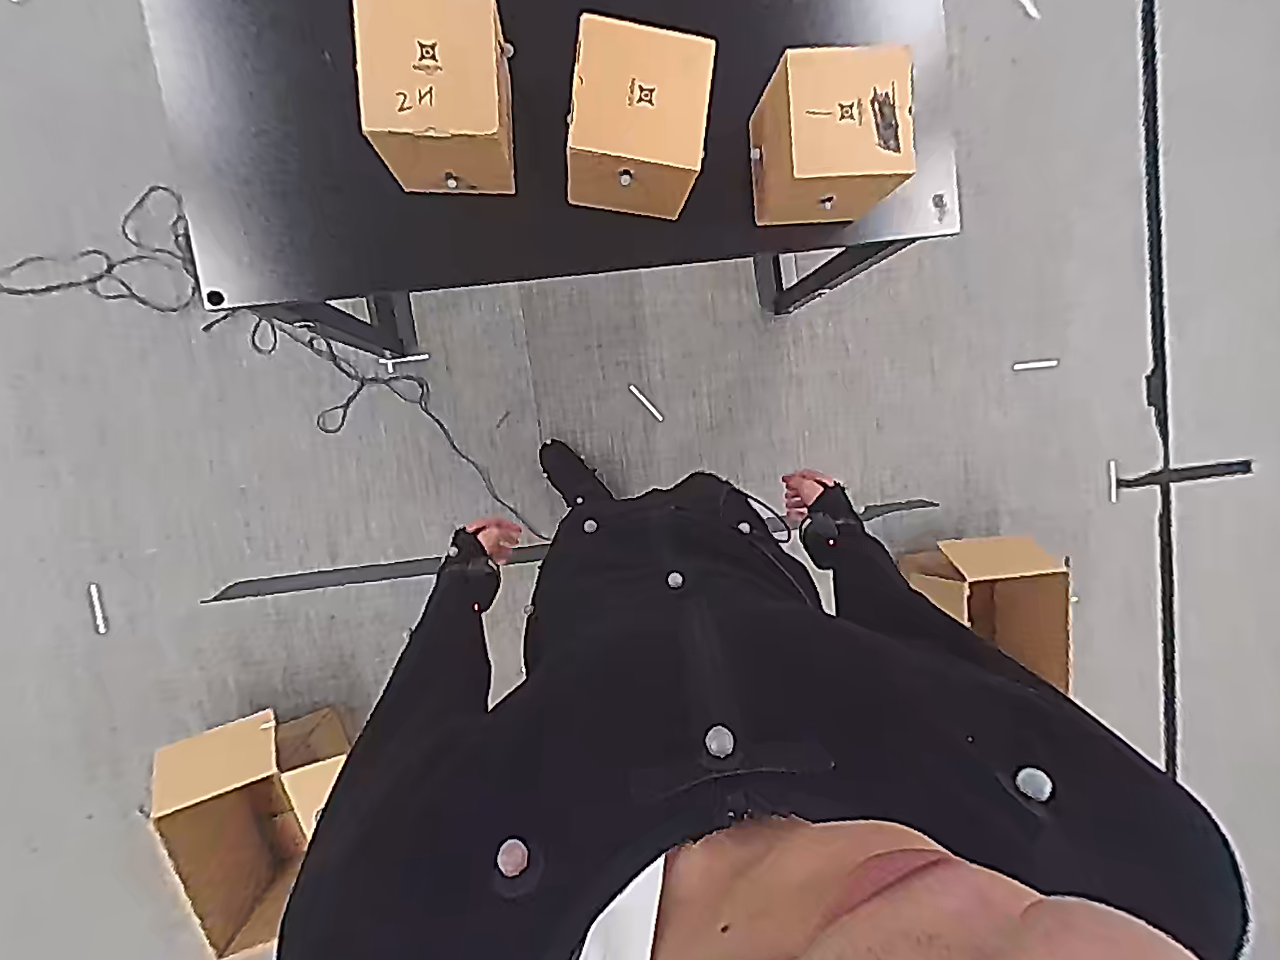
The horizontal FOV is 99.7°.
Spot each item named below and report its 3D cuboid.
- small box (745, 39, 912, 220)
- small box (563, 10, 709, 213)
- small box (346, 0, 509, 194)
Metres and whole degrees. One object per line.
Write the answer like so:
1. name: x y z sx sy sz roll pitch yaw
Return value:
1. small box: 0.266 -0.499 0.791 0.179 0.176 0.168 -6 95 -5
2. small box: -0.014 -0.499 0.762 0.179 0.176 0.168 5 94 -7
3. small box: -0.273 -0.515 0.730 0.168 0.176 0.179 -3 96 -6
